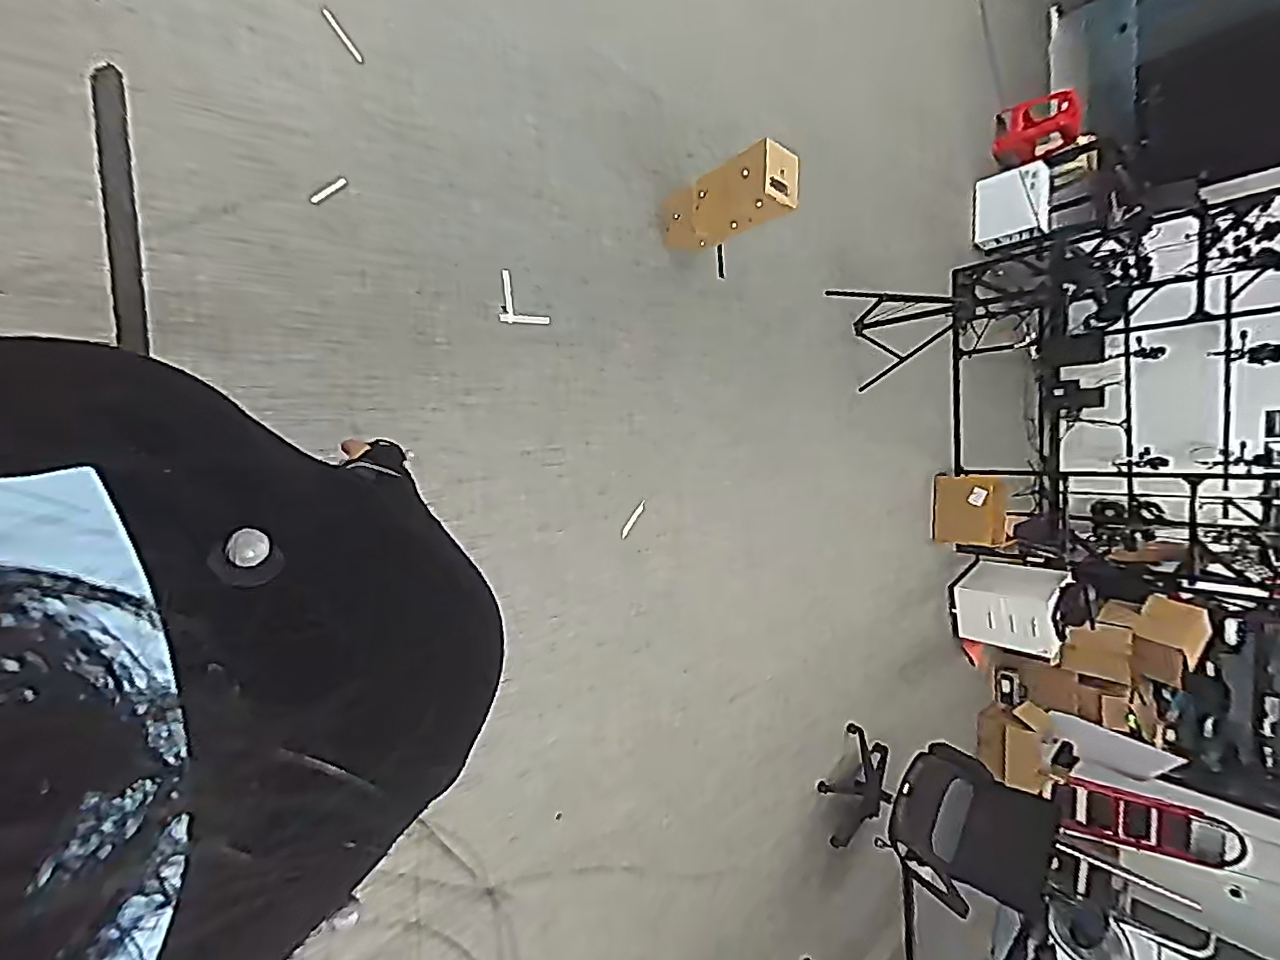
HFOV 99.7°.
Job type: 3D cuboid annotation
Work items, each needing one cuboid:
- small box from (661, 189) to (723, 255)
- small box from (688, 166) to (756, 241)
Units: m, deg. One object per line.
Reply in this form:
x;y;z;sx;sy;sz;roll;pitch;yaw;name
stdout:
0.191;-0.969;2.047;0.179;0.176;0.168;-9;97;-40;small box
0.292;-0.972;1.919;0.179;0.176;0.168;0;91;-39;small box
